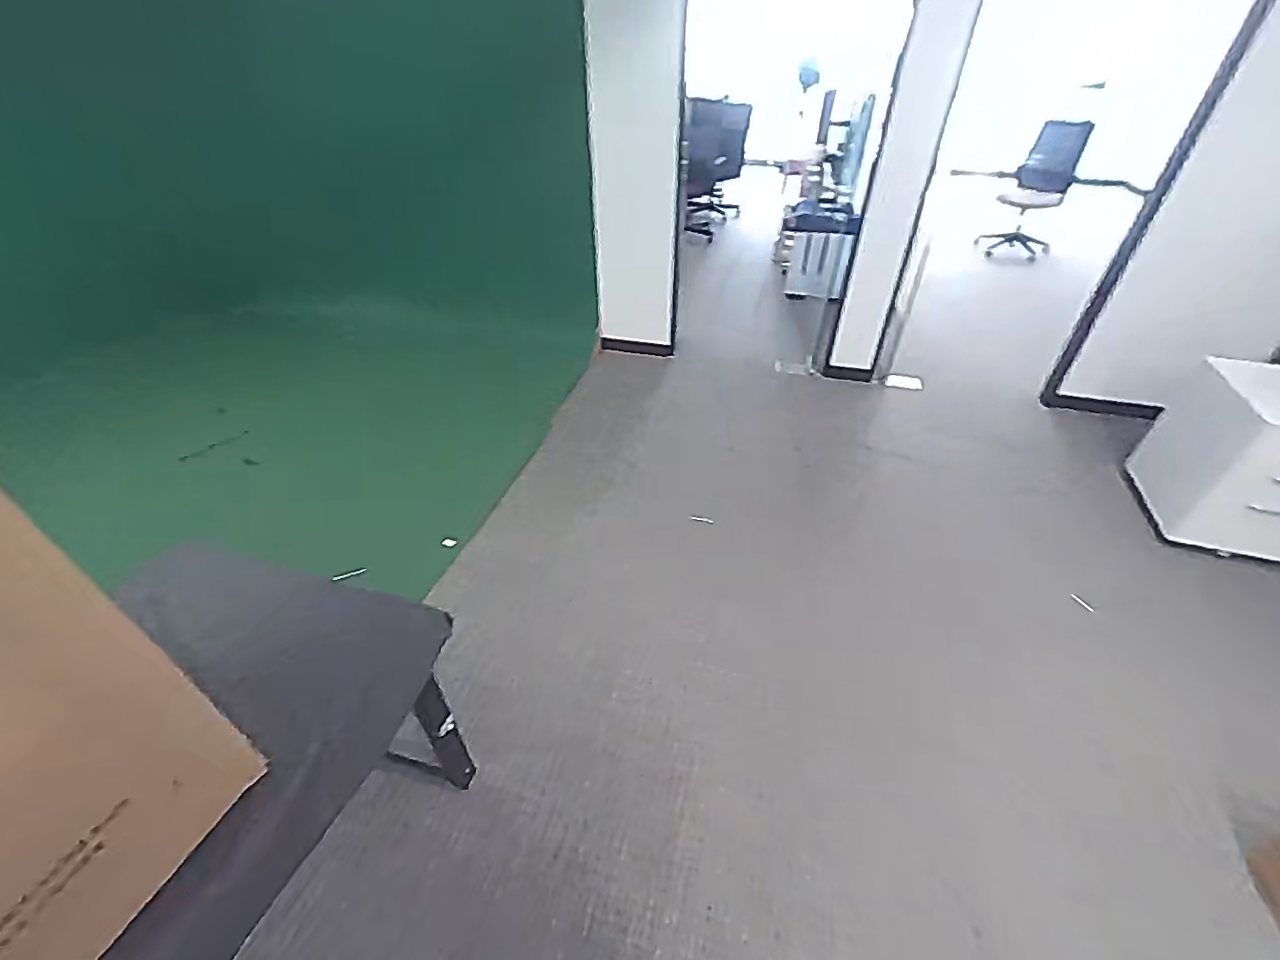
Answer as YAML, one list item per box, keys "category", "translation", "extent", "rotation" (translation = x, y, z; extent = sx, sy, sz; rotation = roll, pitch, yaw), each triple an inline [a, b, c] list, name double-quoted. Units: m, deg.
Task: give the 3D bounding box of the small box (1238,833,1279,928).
- category: "small box"
  translation: [1.565, 0.938, 1.238]
  extent: [0.179, 0.176, 0.168]
  rotation: [12, 39, 13]
